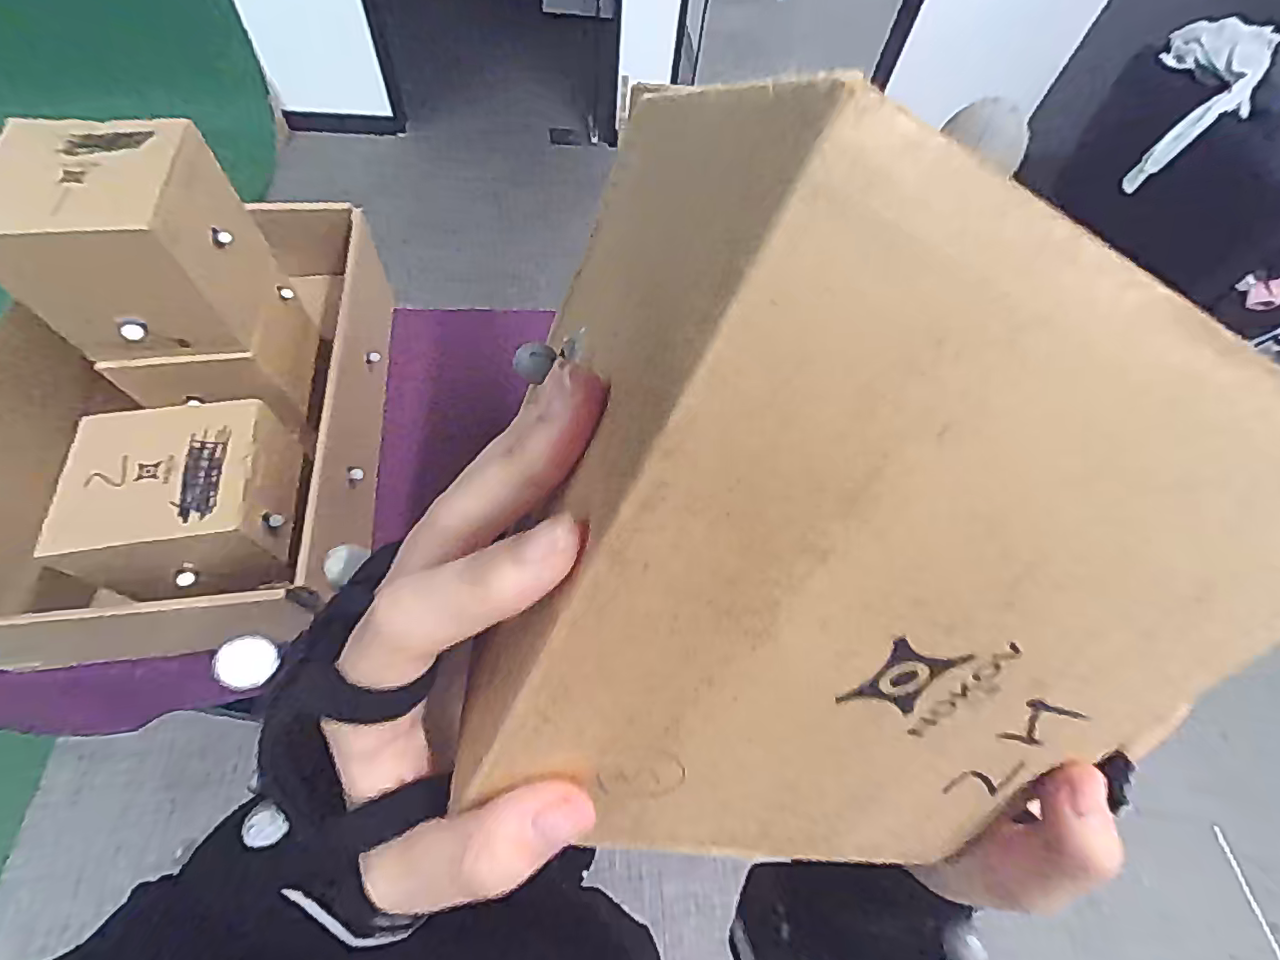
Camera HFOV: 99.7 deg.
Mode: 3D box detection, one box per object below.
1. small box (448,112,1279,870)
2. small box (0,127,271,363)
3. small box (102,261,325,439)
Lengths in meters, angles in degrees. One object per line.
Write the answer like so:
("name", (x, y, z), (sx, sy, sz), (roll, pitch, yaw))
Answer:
("small box", (0.054, 0.002, 0.191), (0.179, 0.168, 0.176), (18, 31, -19))
("small box", (-0.541, -0.252, 0.593), (0.168, 0.176, 0.179), (-6, 64, -8))
("small box", (-0.553, -0.168, 0.734), (0.168, 0.176, 0.179), (-7, 62, -8))
